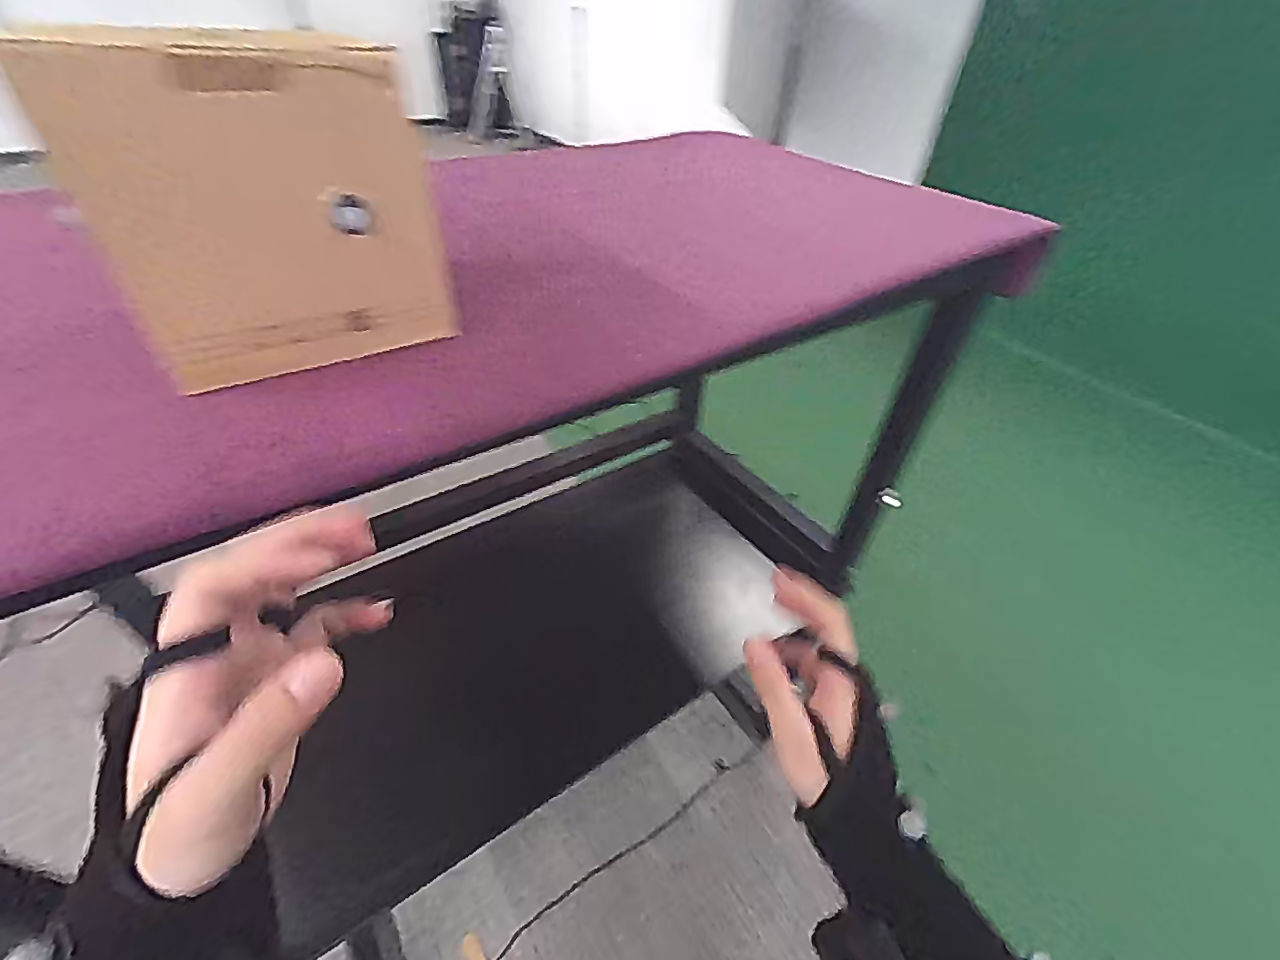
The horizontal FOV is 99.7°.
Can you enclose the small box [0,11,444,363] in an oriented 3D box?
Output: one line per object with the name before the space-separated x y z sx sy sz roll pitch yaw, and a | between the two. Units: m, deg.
small box | -0.244 -0.190 0.354 0.168 0.176 0.179 -21 46 -26
